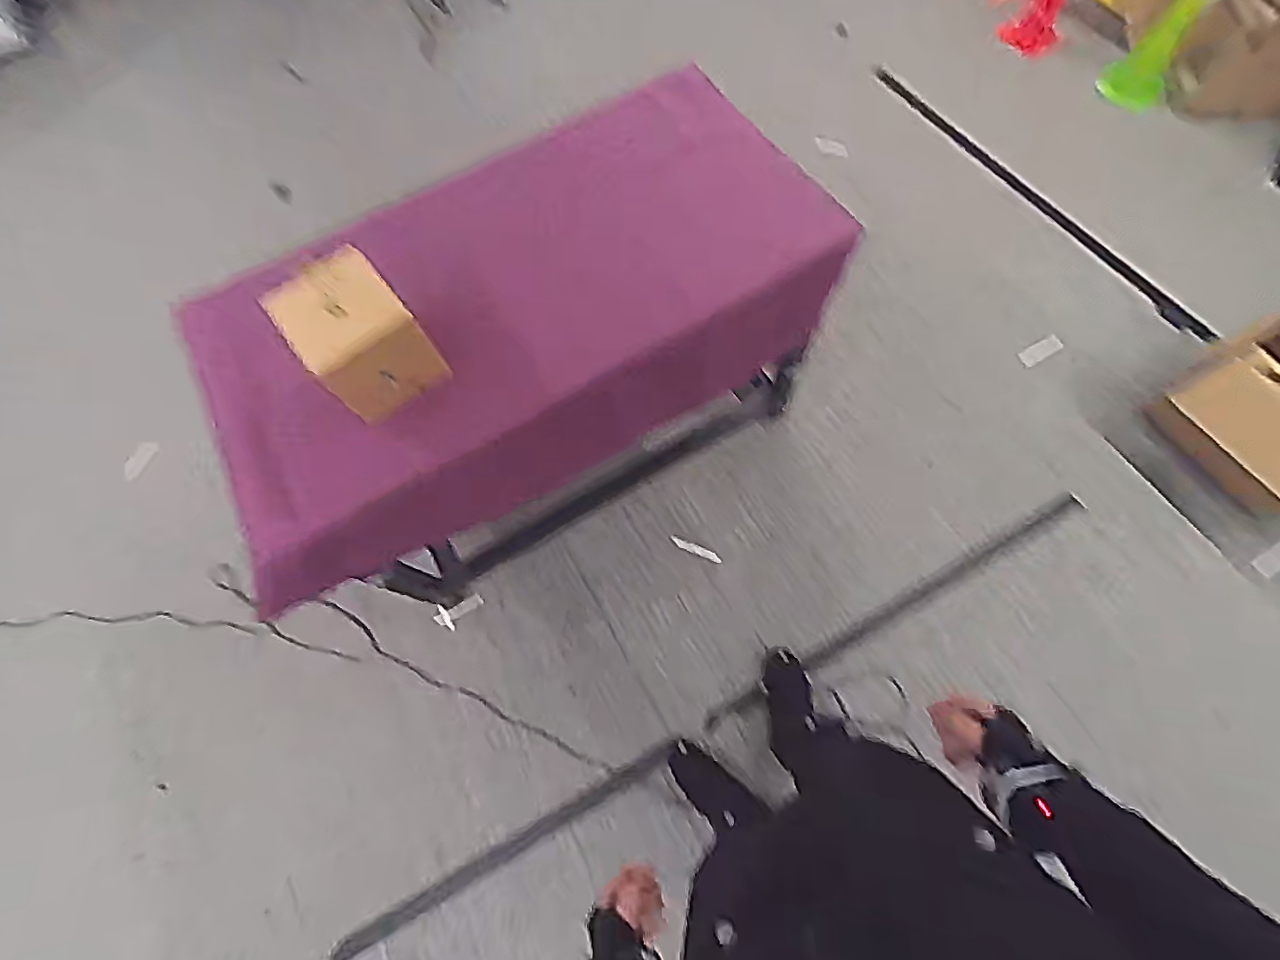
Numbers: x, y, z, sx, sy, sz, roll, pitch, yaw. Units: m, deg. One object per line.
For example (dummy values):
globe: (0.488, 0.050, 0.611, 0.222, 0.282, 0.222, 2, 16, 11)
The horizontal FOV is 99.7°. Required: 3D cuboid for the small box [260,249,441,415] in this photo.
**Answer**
small box: (-0.464, -0.230, 0.893, 0.168, 0.176, 0.179, -38, 71, -11)
